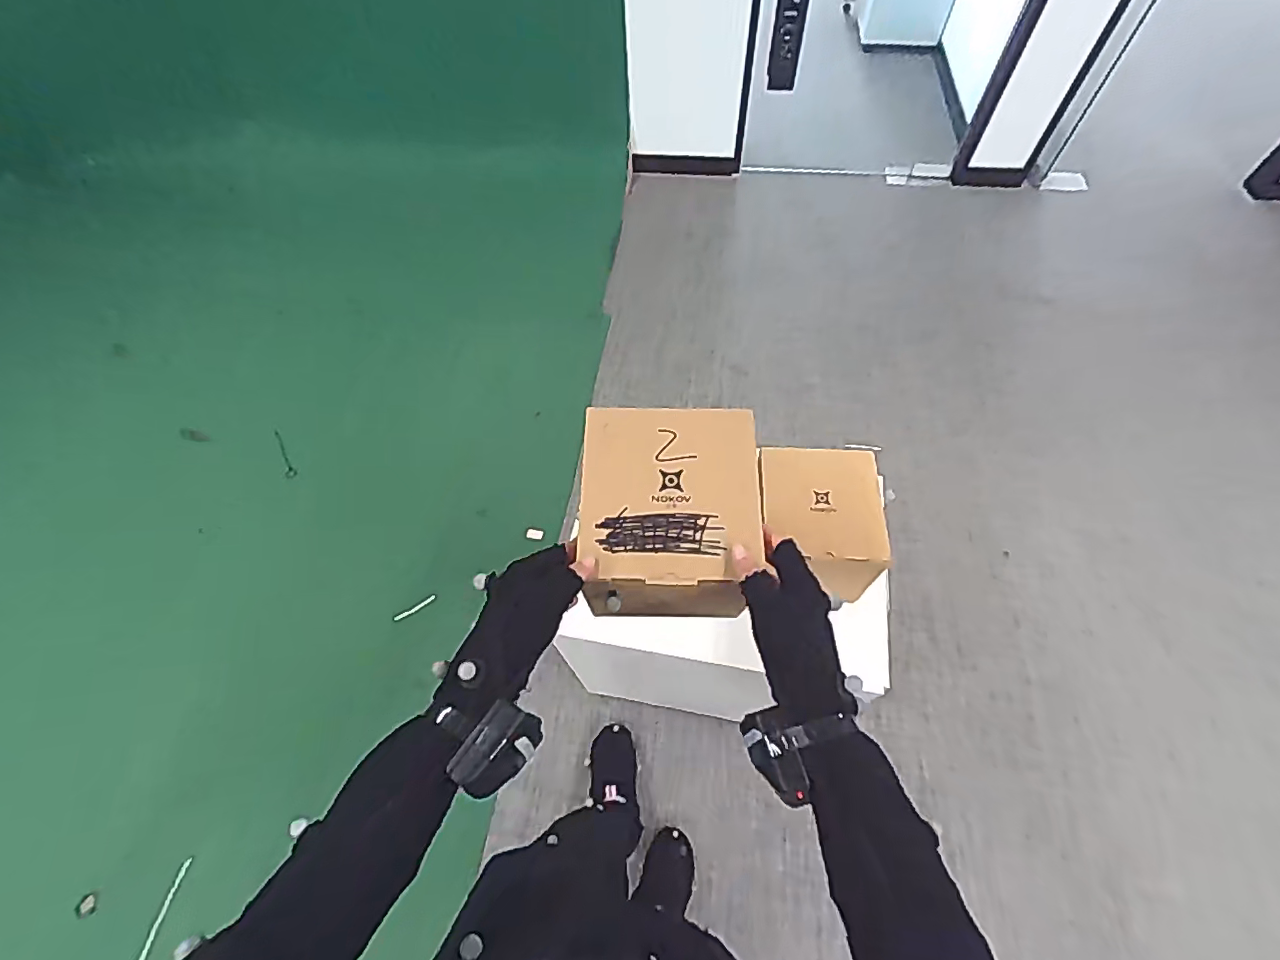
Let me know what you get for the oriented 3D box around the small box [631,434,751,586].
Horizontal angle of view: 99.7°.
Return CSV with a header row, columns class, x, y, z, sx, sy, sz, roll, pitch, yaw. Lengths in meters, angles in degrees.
class,x,y,z,sx,sy,sz,roll,pitch,yaw
small box,0.076,0.049,0.836,0.168,0.176,0.179,1,59,4
